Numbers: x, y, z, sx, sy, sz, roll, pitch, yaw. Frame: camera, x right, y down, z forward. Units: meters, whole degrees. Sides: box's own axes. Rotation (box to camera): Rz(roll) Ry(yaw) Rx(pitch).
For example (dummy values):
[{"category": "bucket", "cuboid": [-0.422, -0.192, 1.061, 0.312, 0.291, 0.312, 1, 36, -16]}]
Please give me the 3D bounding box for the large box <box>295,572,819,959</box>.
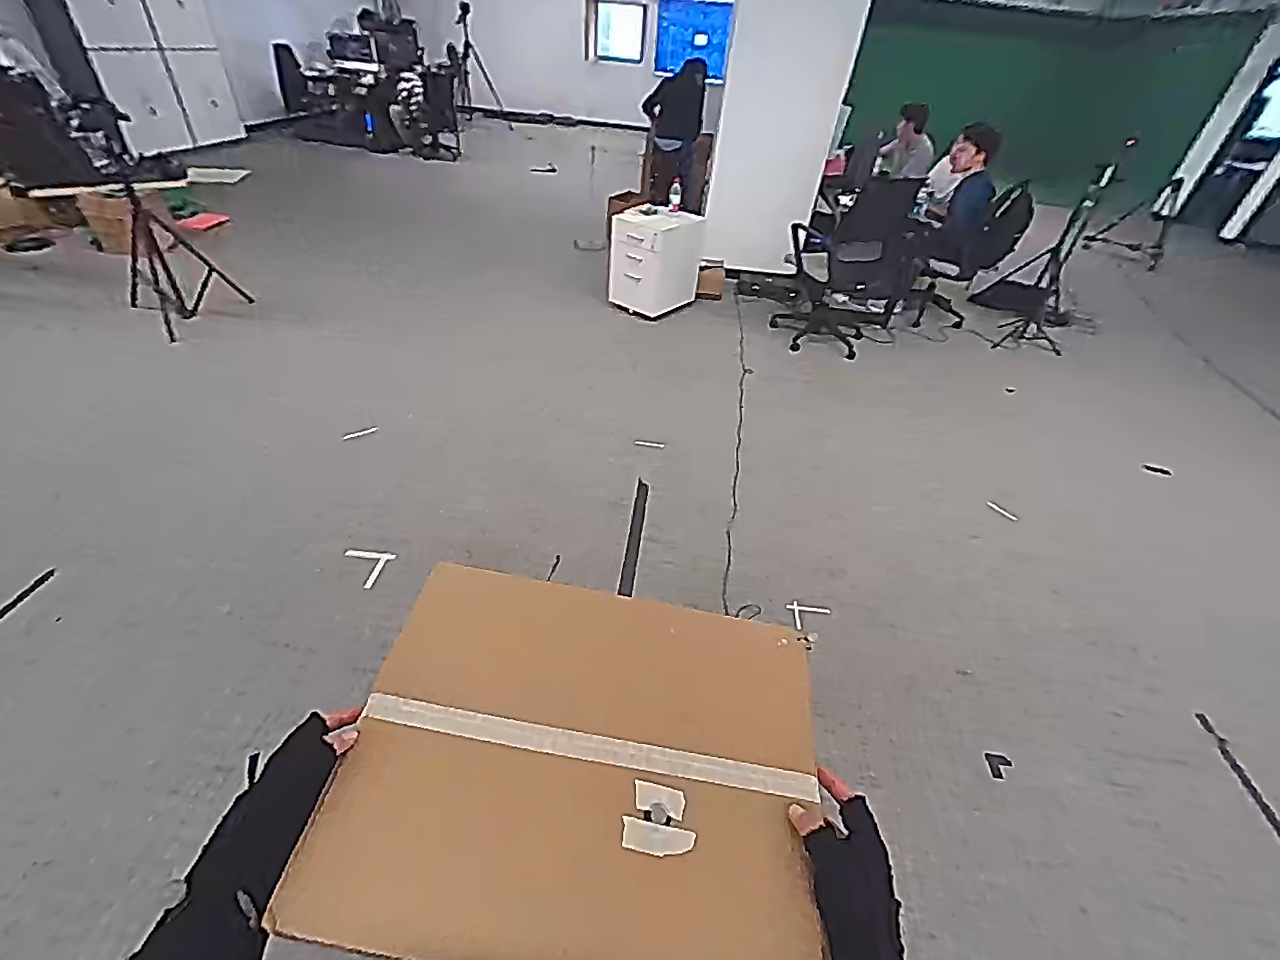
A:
[{"category": "large box", "cuboid": [-0.060, 0.344, 0.605, 0.408, 0.320, 0.320, 11, 47, 2]}]
